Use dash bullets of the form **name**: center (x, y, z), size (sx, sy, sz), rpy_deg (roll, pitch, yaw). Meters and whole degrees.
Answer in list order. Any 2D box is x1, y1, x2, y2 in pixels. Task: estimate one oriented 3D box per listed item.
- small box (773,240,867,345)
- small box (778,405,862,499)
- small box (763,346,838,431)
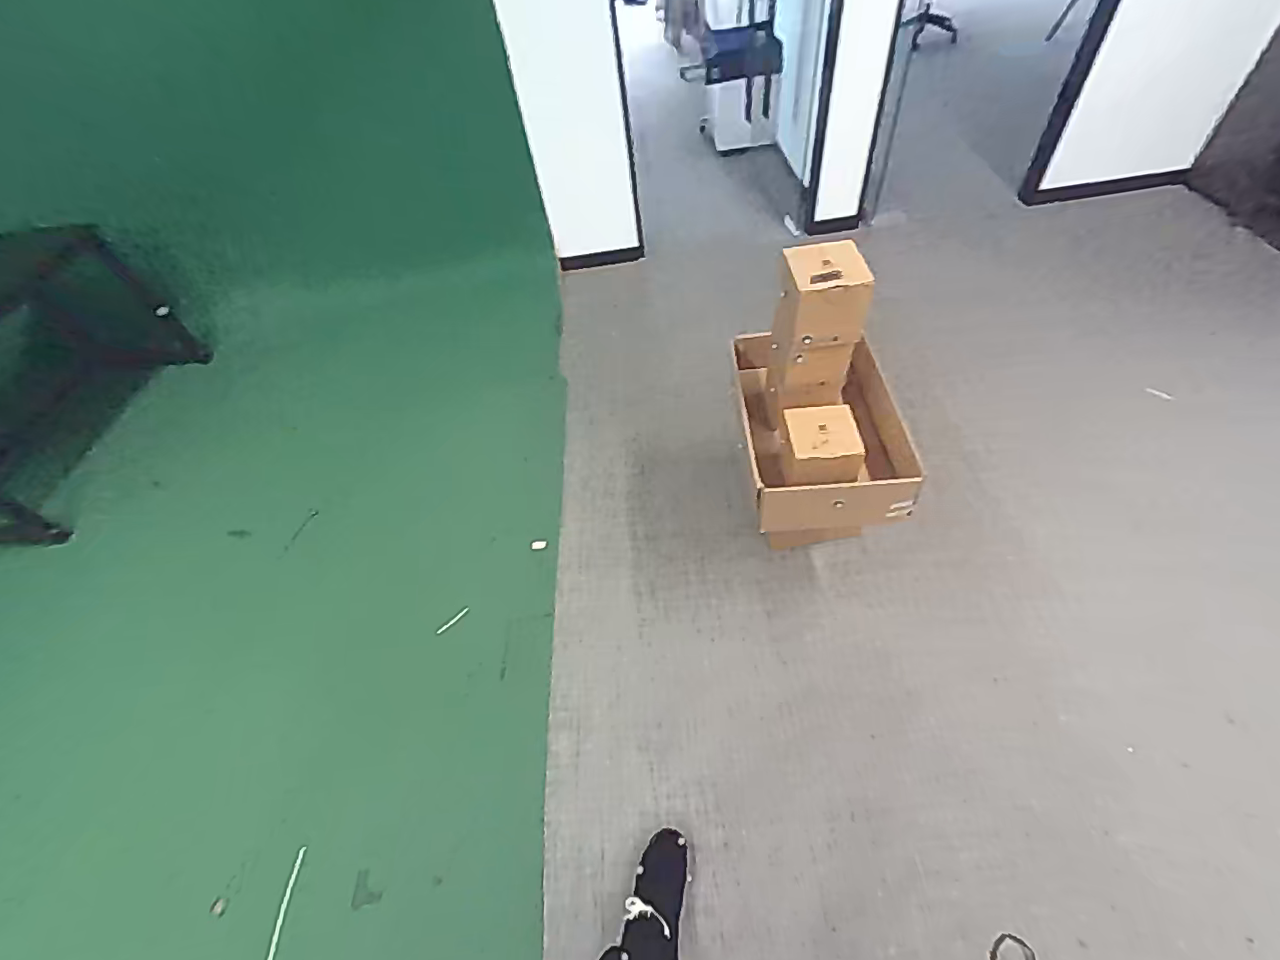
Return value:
- **small box**: center (0.422, -0.440, 1.294), size (0.168, 0.176, 0.179), rpy_deg (-7, 53, 3)
- **small box**: center (0.457, -0.072, 1.407), size (0.168, 0.176, 0.179), rpy_deg (-5, 50, 6)
- **small box**: center (0.457, -0.264, 1.571), size (0.168, 0.176, 0.179), rpy_deg (-5, 54, 4)
